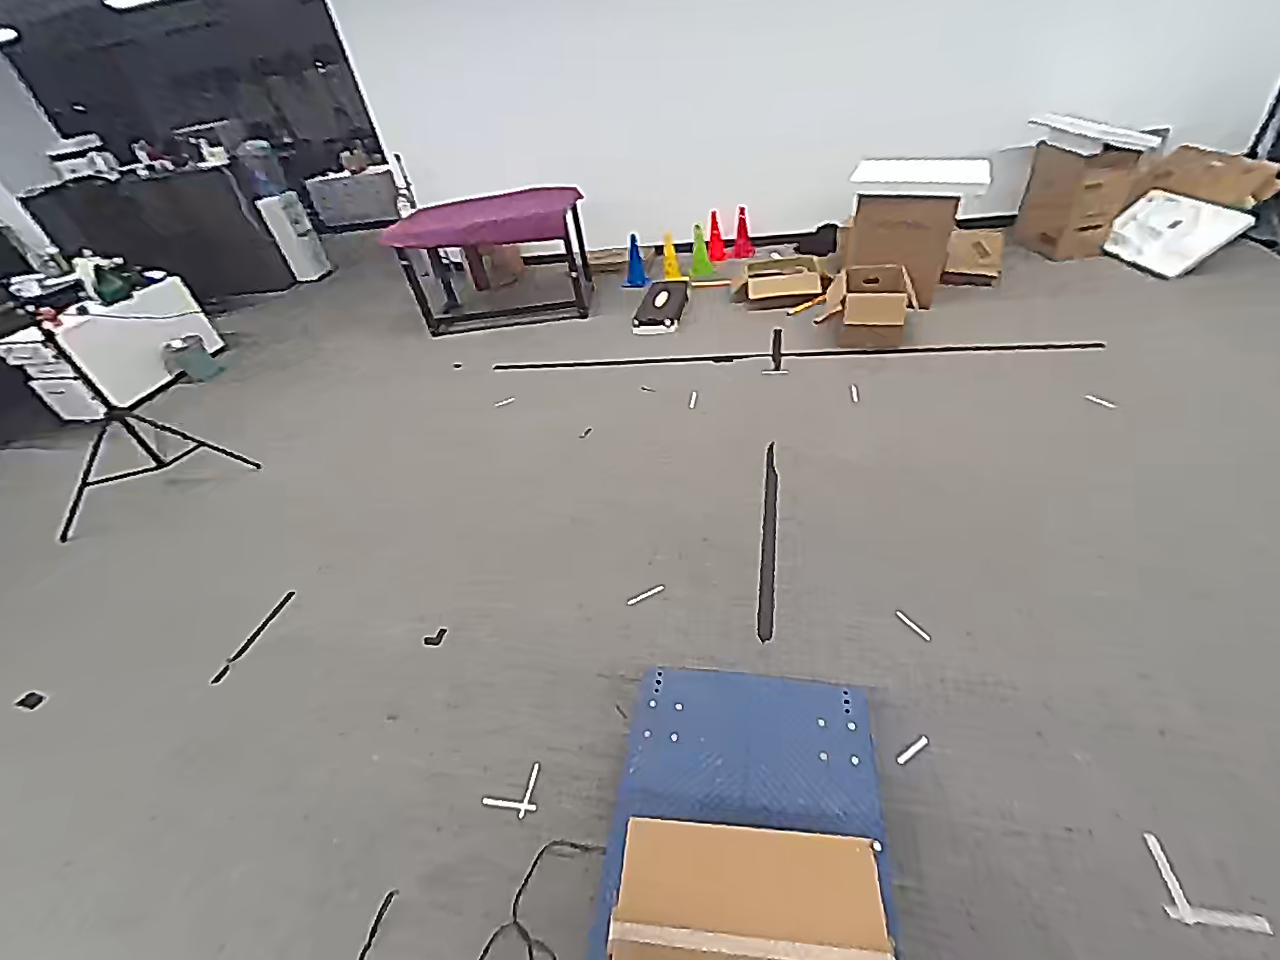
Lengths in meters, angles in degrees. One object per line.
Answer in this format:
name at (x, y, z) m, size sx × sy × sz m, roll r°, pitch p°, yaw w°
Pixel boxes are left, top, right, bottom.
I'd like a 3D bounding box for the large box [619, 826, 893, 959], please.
large box at (0.181, 0.811, 0.889) m, size 0.408 × 0.320 × 0.320 m, roll -1°, pitch 40°, yaw 9°
